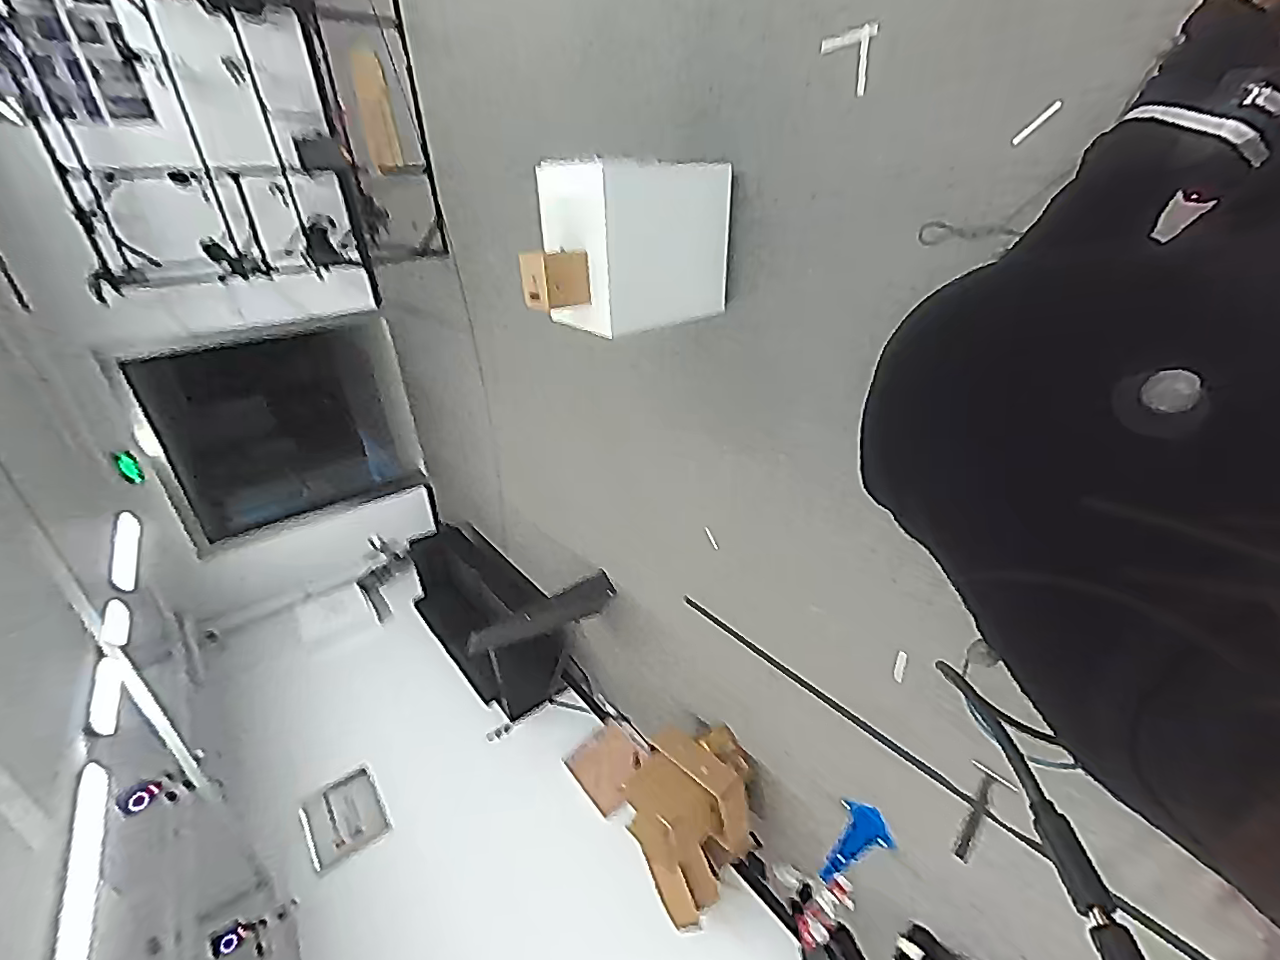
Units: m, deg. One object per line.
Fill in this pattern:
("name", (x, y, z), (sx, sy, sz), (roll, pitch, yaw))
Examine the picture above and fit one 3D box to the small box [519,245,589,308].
("small box", (-0.286, -0.689, 1.824), (0.168, 0.176, 0.179), (28, 130, 45))
